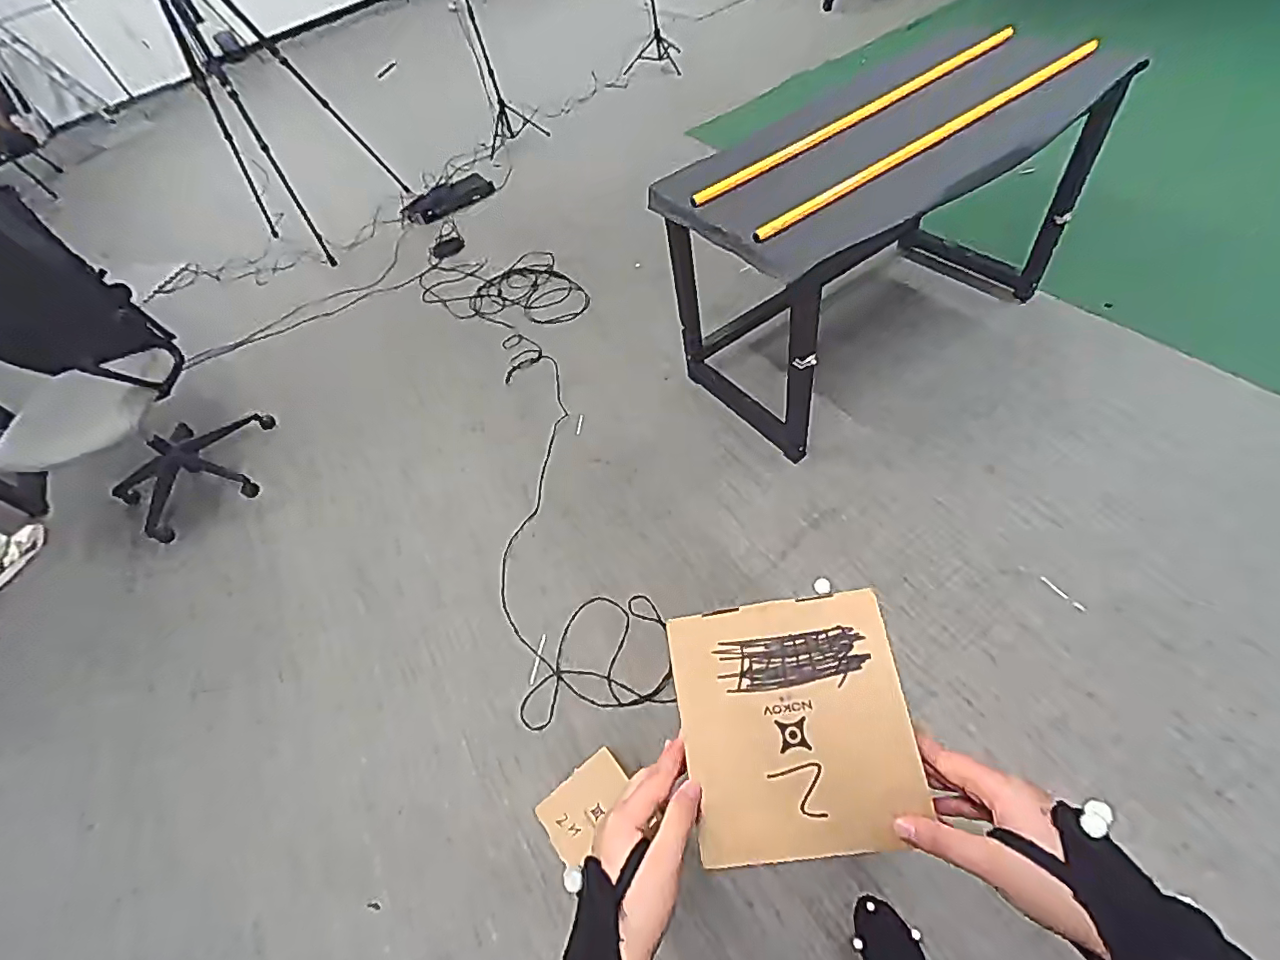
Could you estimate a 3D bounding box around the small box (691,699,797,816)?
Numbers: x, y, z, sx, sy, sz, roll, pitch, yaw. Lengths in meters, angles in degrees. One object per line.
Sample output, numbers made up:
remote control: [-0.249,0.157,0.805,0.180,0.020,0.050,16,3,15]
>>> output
small box: [0.237,0.638,1.231,0.168,0.176,0.179,-28,53,-9]

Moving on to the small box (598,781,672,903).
small box: [-0.044,0.781,1.187,0.179,0.176,0.168,-36,55,-14]

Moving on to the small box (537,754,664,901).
small box: [-0.068,0.677,1.061,0.179,0.176,0.168,-37,55,-15]
